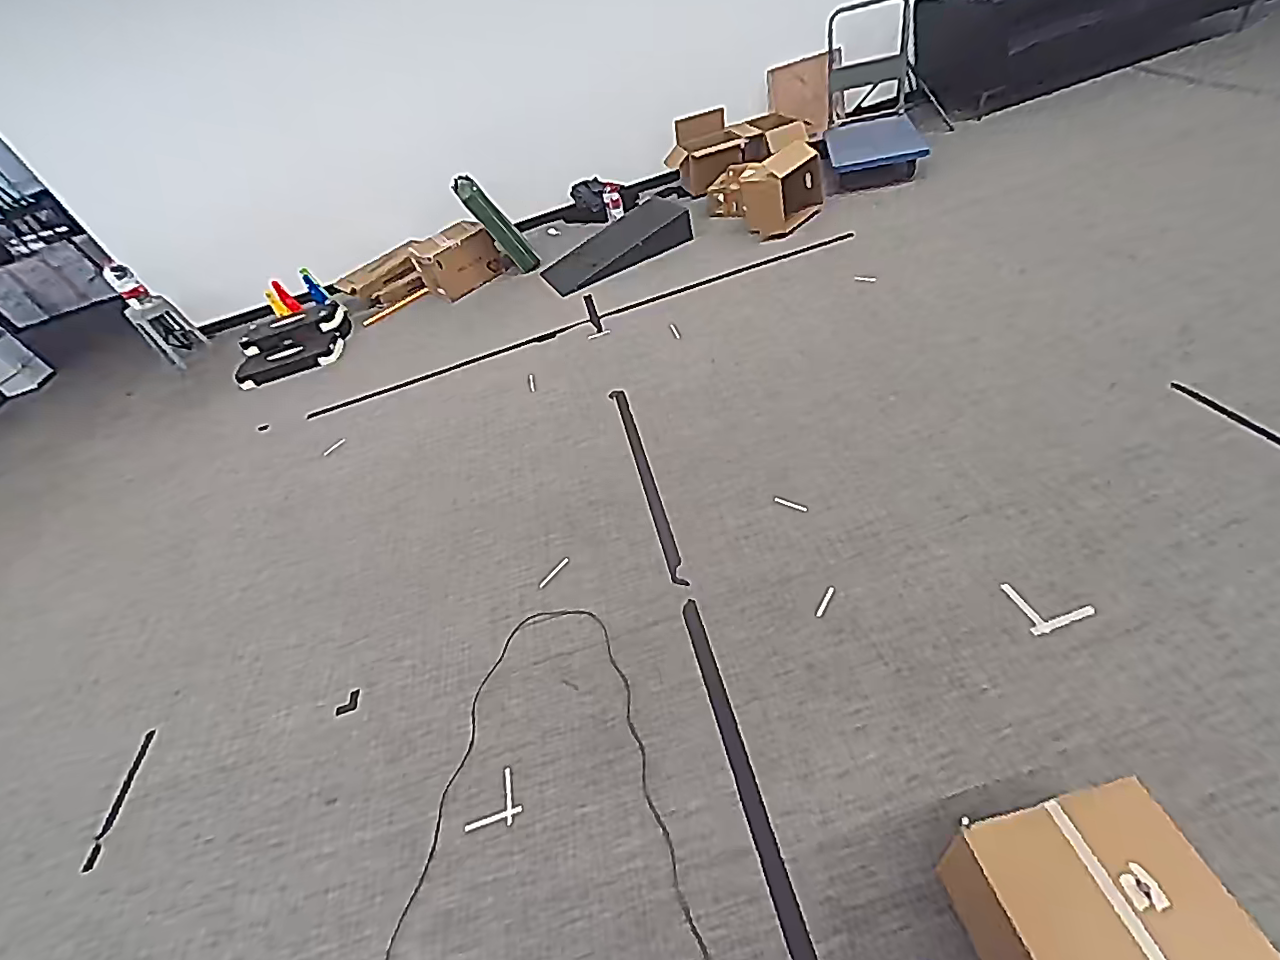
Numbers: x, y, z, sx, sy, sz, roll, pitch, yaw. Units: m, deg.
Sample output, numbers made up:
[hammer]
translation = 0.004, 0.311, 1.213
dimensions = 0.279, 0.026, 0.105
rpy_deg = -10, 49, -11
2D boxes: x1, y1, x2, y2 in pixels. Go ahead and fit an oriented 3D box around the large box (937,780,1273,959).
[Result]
[large box]
translation = 0.772, 0.798, 0.896
dimensions = 0.320, 0.320, 0.408
rpy_deg = -16, 42, 0
